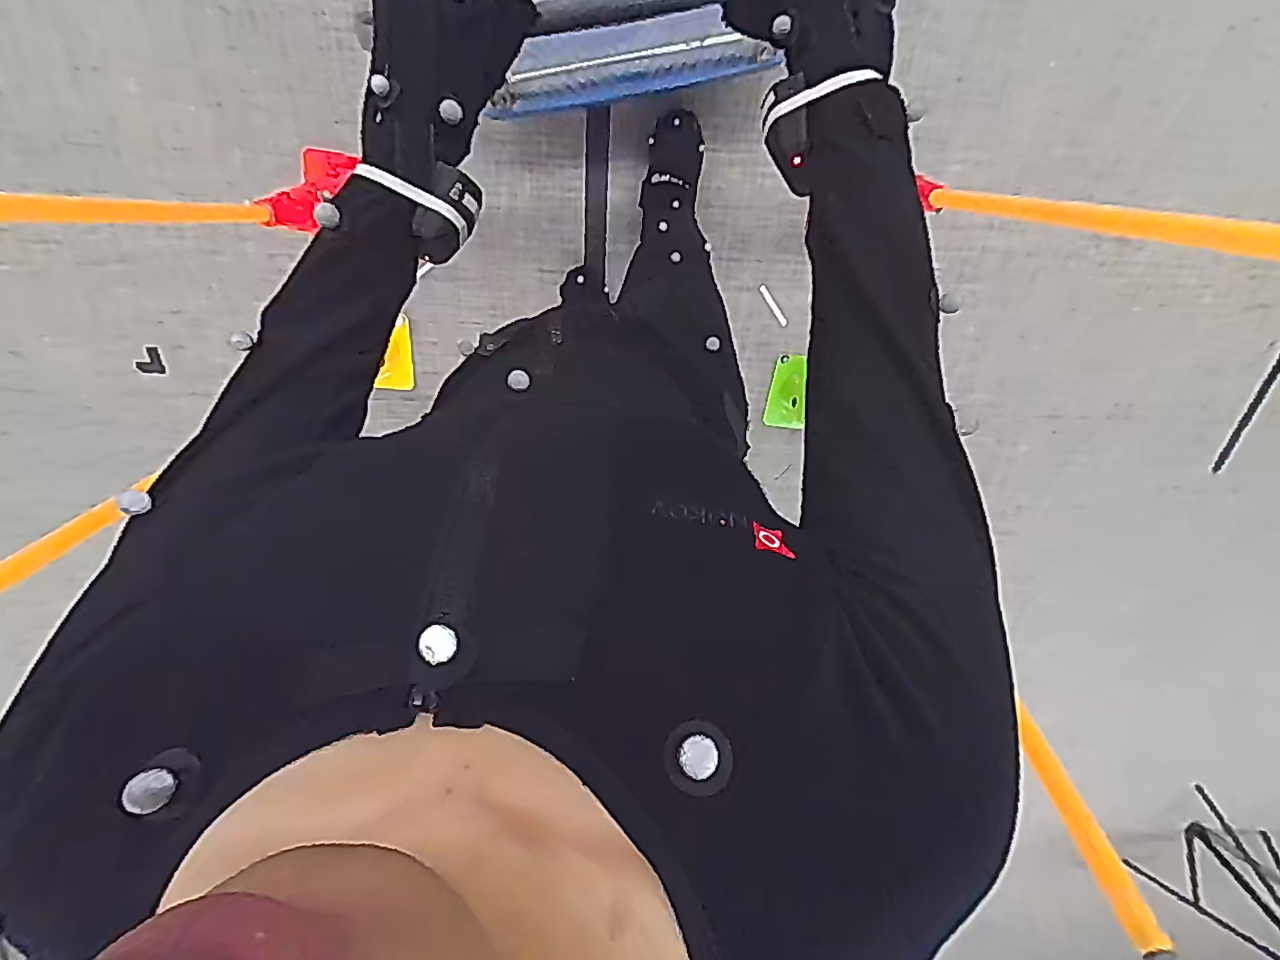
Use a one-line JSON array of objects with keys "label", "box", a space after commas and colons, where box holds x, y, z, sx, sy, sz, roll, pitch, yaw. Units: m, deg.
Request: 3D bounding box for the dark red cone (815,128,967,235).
[{"label": "dark red cone", "box": [0.502, -0.574, 1.048, 0.201, 0.394, 0.202, 1, 119, -4]}]

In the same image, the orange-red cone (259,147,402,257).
[{"label": "orange-red cone", "box": [-0.632, -0.541, 1.065, 0.198, 0.360, 0.199, 8, 117, -7]}]

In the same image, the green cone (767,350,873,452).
[{"label": "green cone", "box": [0.459, -0.159, 1.295, 0.202, 0.368, 0.200, 5, 119, -5]}]
